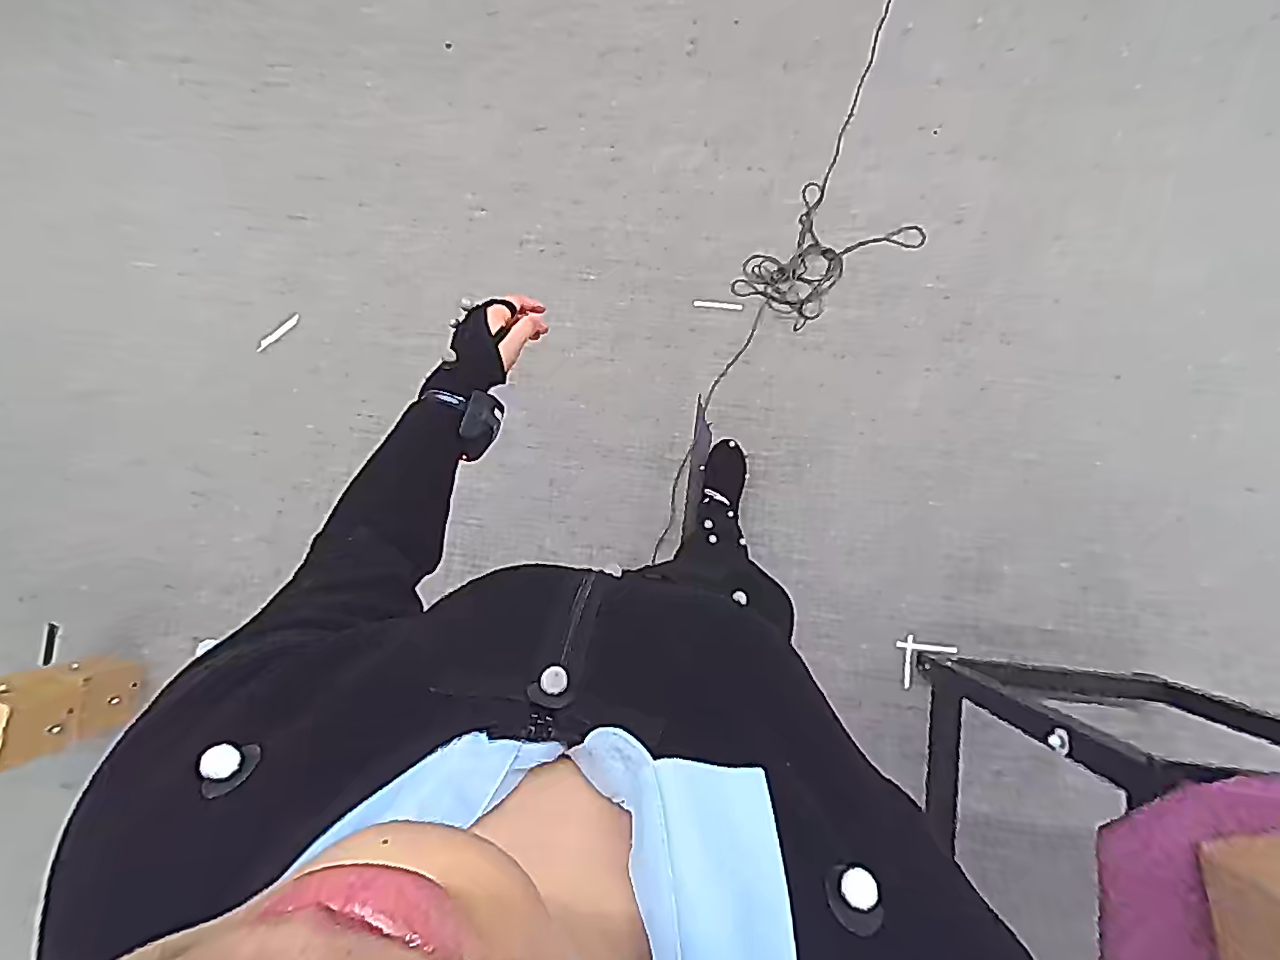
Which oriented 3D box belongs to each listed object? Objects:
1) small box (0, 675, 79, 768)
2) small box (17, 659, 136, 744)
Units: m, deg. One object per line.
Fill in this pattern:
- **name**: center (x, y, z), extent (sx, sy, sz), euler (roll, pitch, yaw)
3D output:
- **small box**: center (-1.556, 0.591, 1.321), extent (0.179, 0.176, 0.168), euler (11, 86, 5)
- **small box**: center (-1.548, 0.600, 1.483), extent (0.179, 0.176, 0.168), euler (5, 85, 5)
